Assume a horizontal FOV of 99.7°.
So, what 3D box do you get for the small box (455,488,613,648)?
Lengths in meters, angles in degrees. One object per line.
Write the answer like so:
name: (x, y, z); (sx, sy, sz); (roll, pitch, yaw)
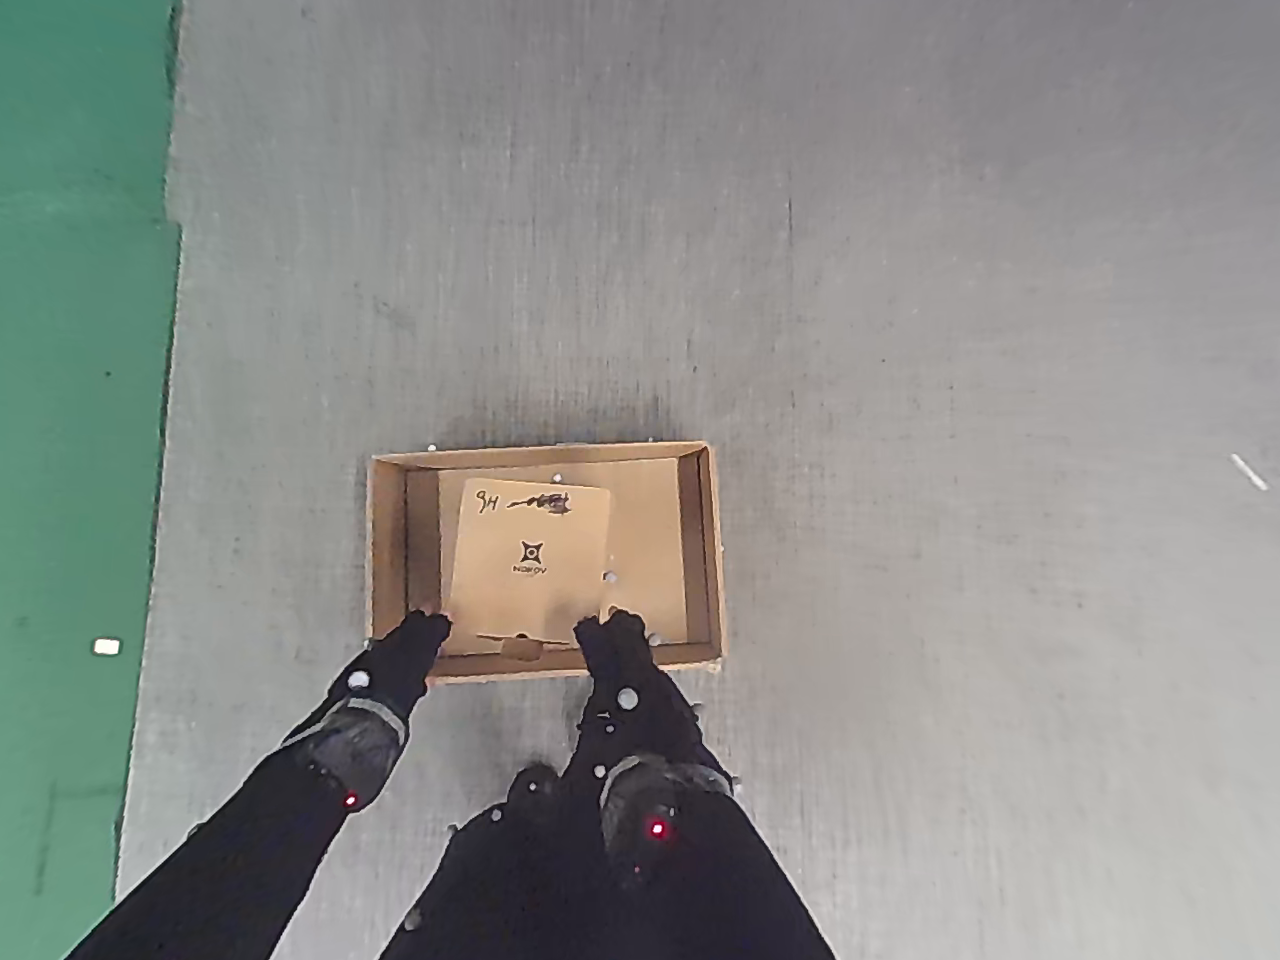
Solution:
small box: (-0.124, 0.108, 0.699); (0.168, 0.176, 0.179); (3, 83, 1)
